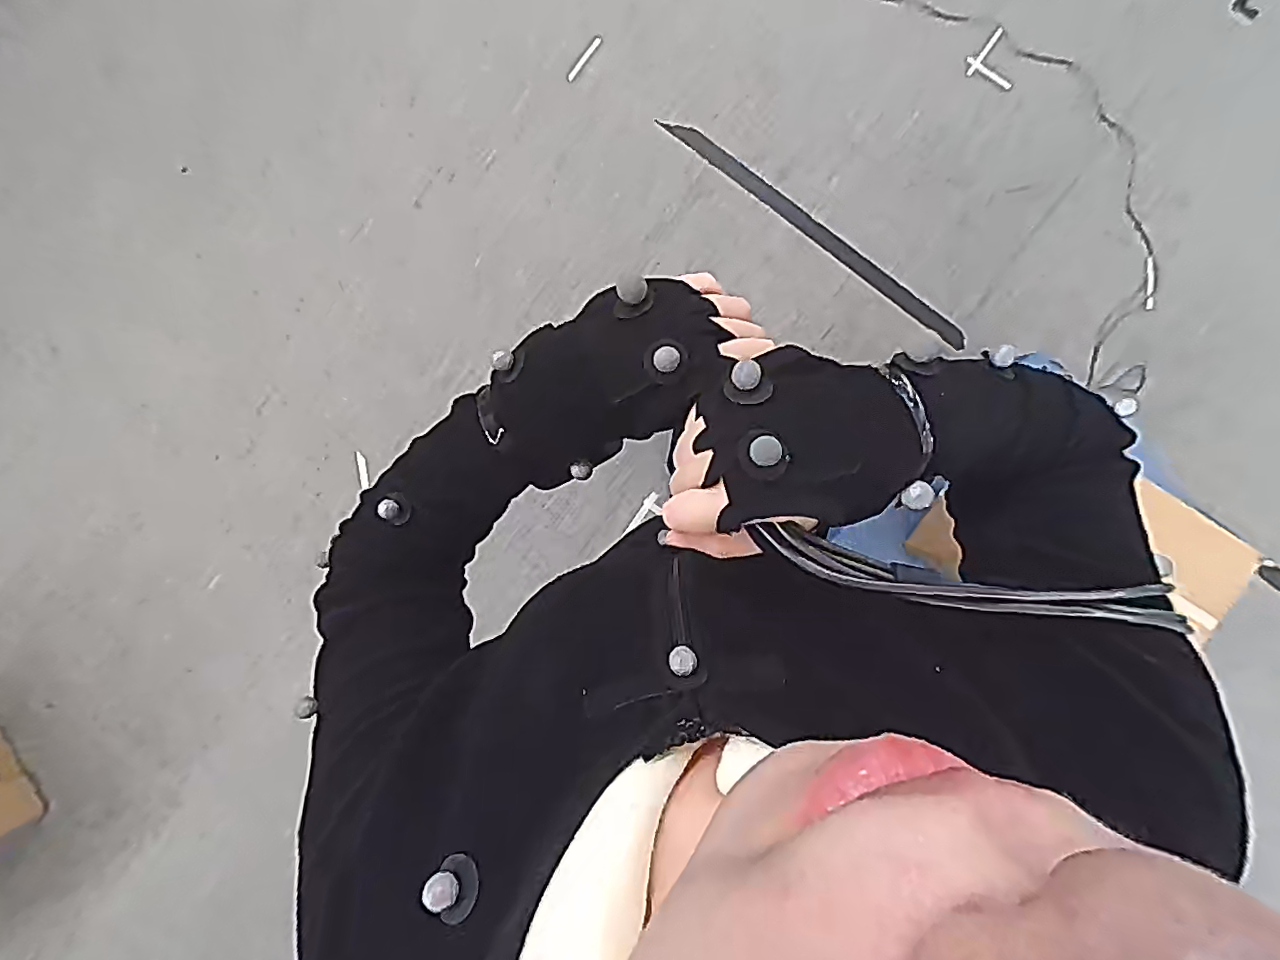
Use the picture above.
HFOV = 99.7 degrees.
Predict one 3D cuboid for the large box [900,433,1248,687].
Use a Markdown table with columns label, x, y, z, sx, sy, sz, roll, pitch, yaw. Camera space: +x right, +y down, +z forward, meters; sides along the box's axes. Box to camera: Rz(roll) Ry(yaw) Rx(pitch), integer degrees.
| label | x | y | z | sx | sy | sz | roll | pitch | yaw |
| --- | --- | --- | --- | --- | --- | --- | --- | --- | --- |
| large box | 0.852 | 0.143 | 1.129 | 0.408 | 0.320 | 0.320 | 34 | 93 | 1 |
